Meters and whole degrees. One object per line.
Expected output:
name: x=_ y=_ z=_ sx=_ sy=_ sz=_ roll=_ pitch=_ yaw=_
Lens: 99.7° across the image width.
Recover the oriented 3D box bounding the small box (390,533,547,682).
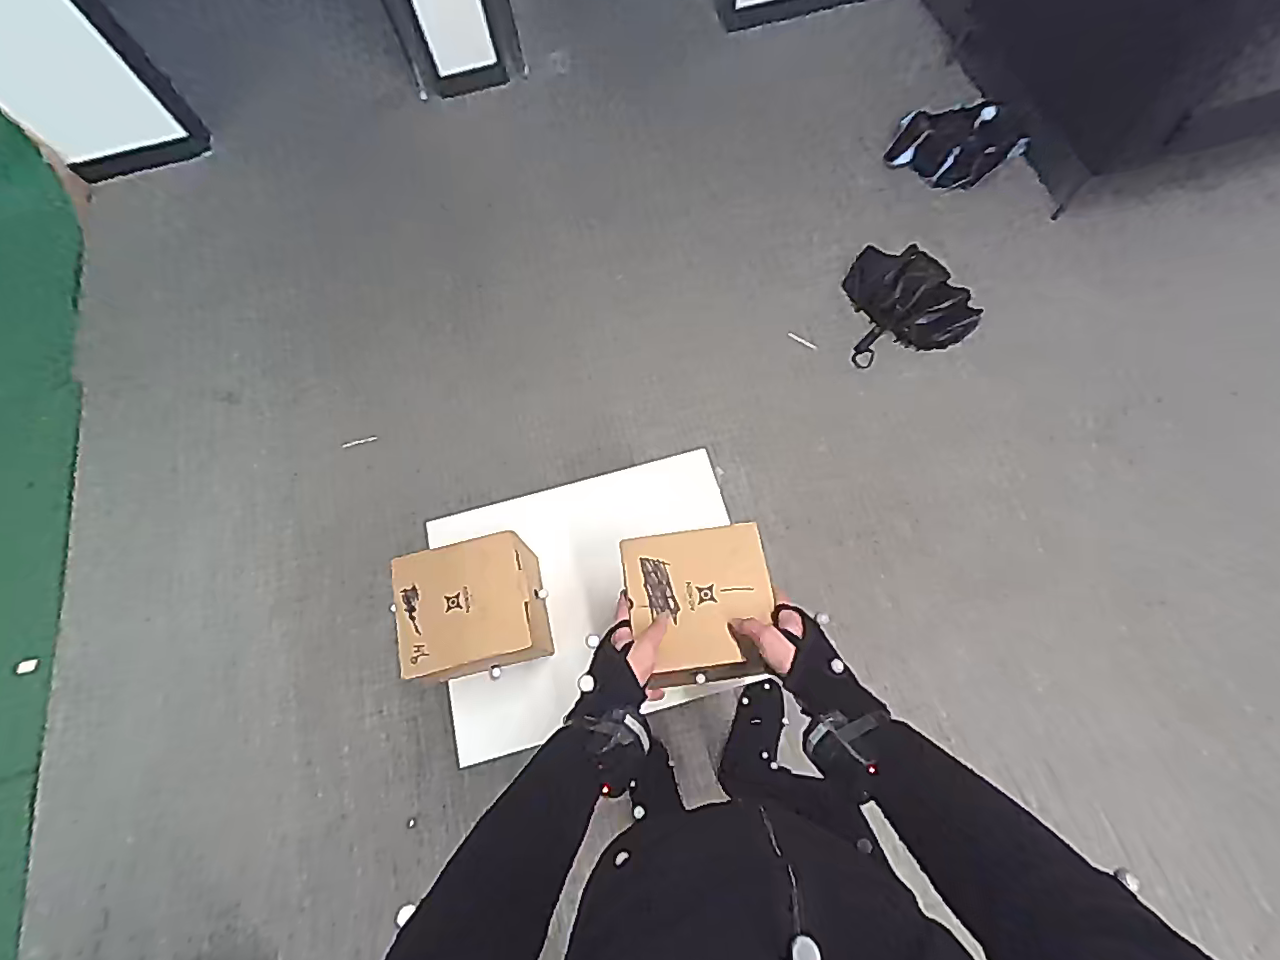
small box: x=-0.241 y=0.192 z=0.798 sx=0.179 sy=0.176 sz=0.168 roll=-14 pitch=70 yaw=-4

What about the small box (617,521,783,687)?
small box: x=0.071 y=0.169 z=0.708 sx=0.179 sy=0.176 sz=0.168 roll=-8 pitch=64 yaw=-1
